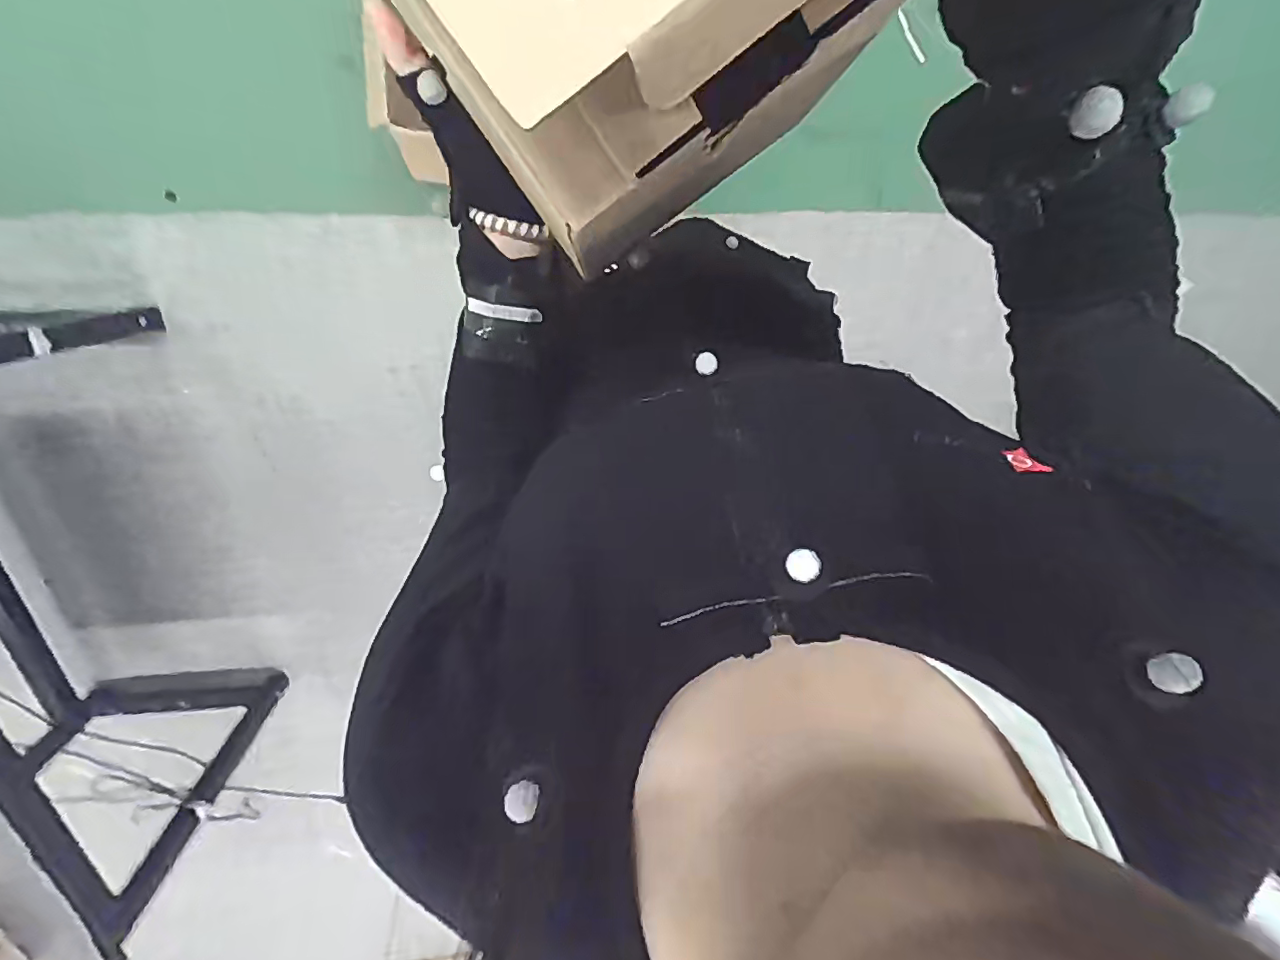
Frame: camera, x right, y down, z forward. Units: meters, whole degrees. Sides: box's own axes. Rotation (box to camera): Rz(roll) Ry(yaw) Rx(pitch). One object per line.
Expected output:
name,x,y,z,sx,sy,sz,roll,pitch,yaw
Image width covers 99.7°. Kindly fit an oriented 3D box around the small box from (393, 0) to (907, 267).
small box,-0.010,-0.217,0.241,0.168,0.176,0.179,-36,102,6
